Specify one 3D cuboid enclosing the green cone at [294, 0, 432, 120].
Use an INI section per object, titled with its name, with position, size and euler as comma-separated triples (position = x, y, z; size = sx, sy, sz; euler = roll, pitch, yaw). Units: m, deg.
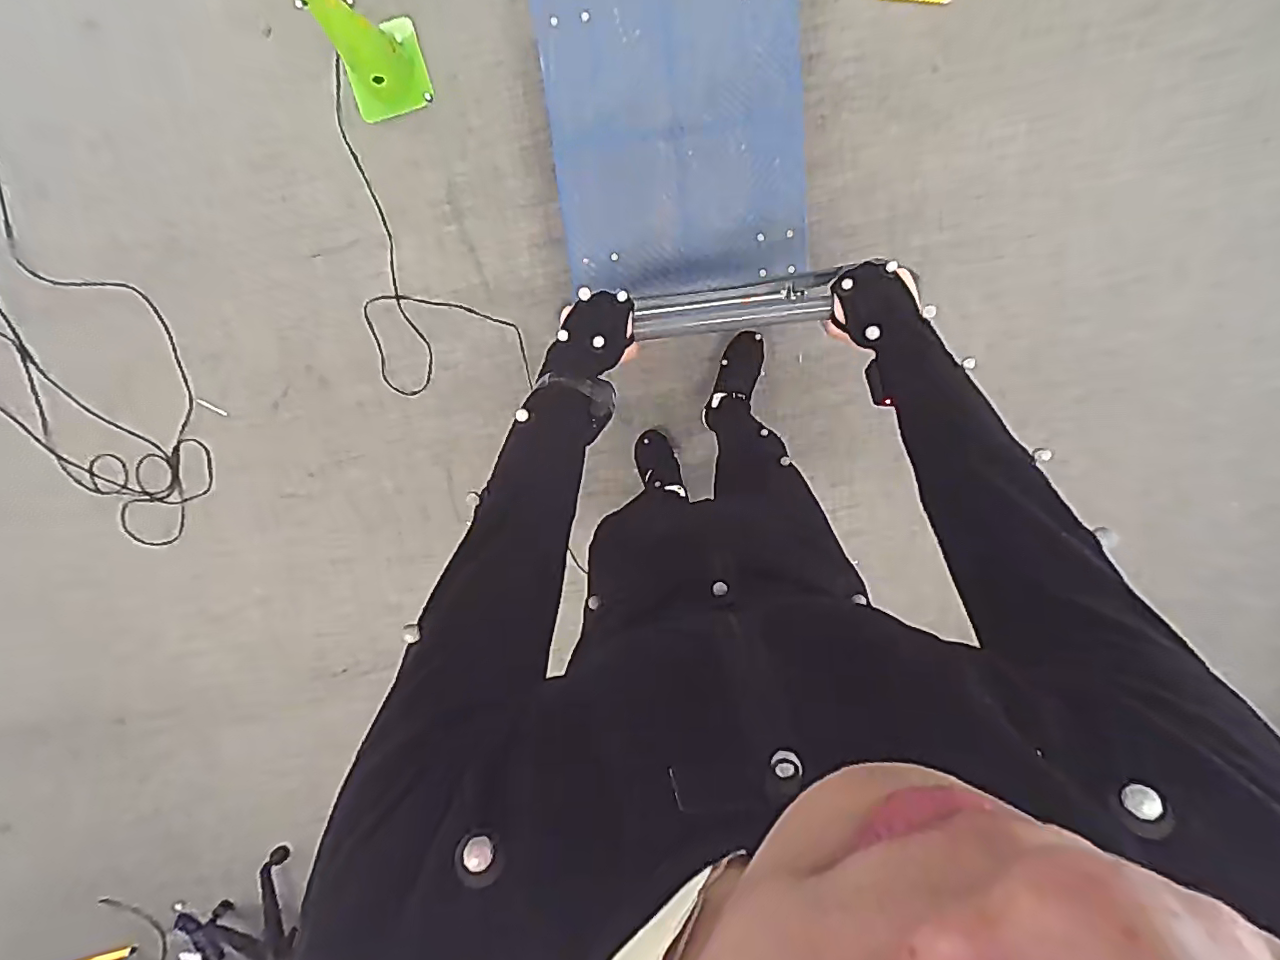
[green cone]
position = -0.652, -0.999, 1.195
size = 0.202, 0.368, 0.200
euler = -14, 103, 7
